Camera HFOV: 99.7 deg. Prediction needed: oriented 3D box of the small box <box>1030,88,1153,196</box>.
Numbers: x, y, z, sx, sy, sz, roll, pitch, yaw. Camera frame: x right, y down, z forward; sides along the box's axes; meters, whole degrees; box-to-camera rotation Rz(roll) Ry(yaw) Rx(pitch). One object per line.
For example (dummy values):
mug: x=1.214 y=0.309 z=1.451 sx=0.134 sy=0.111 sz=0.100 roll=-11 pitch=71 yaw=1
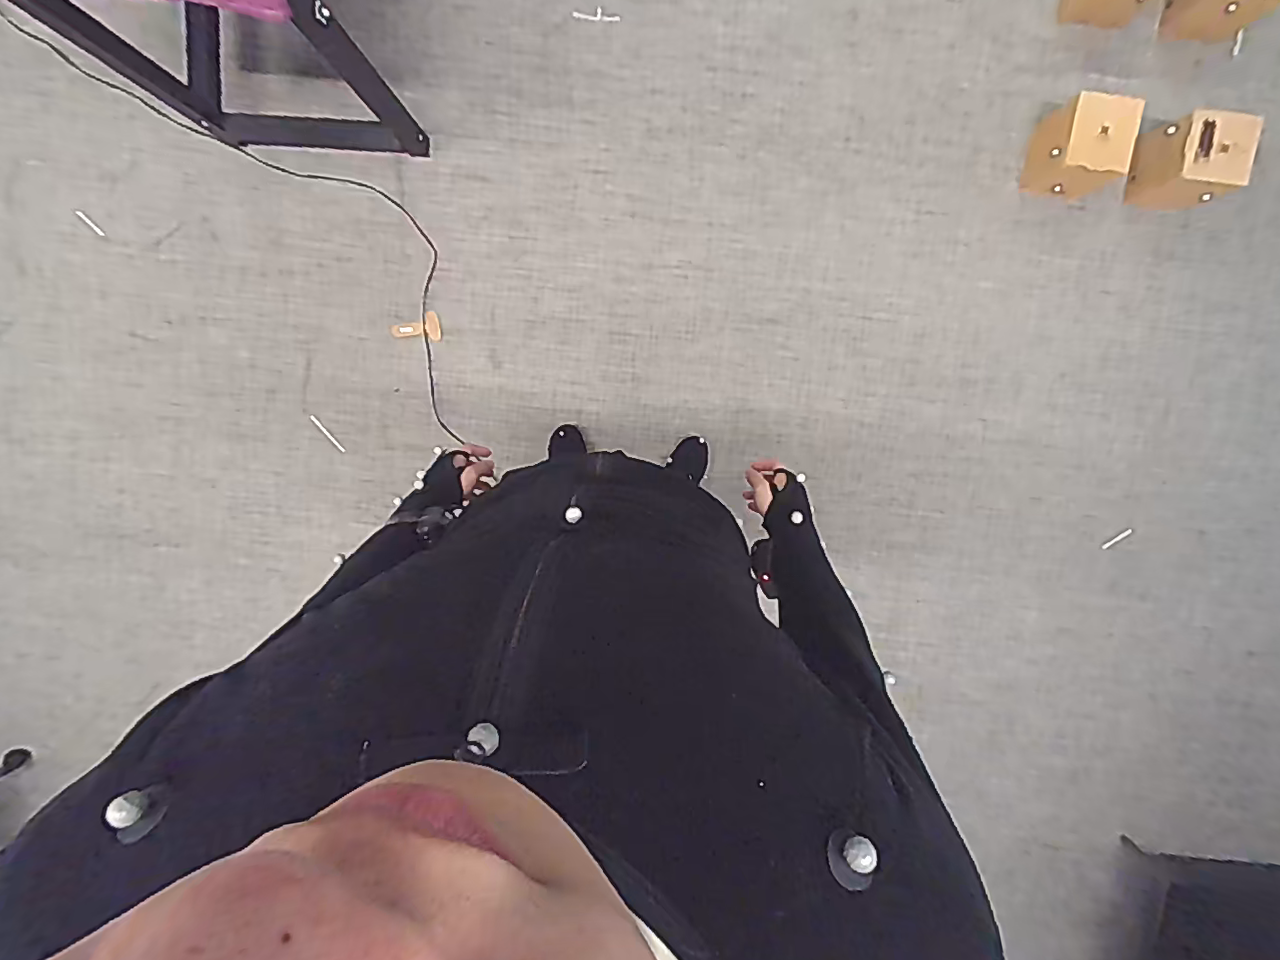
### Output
small box: x=1.169 y=-0.877 z=1.415 sx=0.168 sy=0.176 sz=0.179 roll=8 pitch=98 yaw=0

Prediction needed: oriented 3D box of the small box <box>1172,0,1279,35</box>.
small box: x=1.510 y=-1.266 z=1.356 sx=0.179 sy=0.176 sz=0.168 roll=8 pitch=97 yaw=0

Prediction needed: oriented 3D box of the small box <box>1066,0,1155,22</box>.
small box: x=1.234 y=-1.303 z=1.358 sx=0.179 sy=0.176 sz=0.168 roll=7 pitch=97 yaw=0
